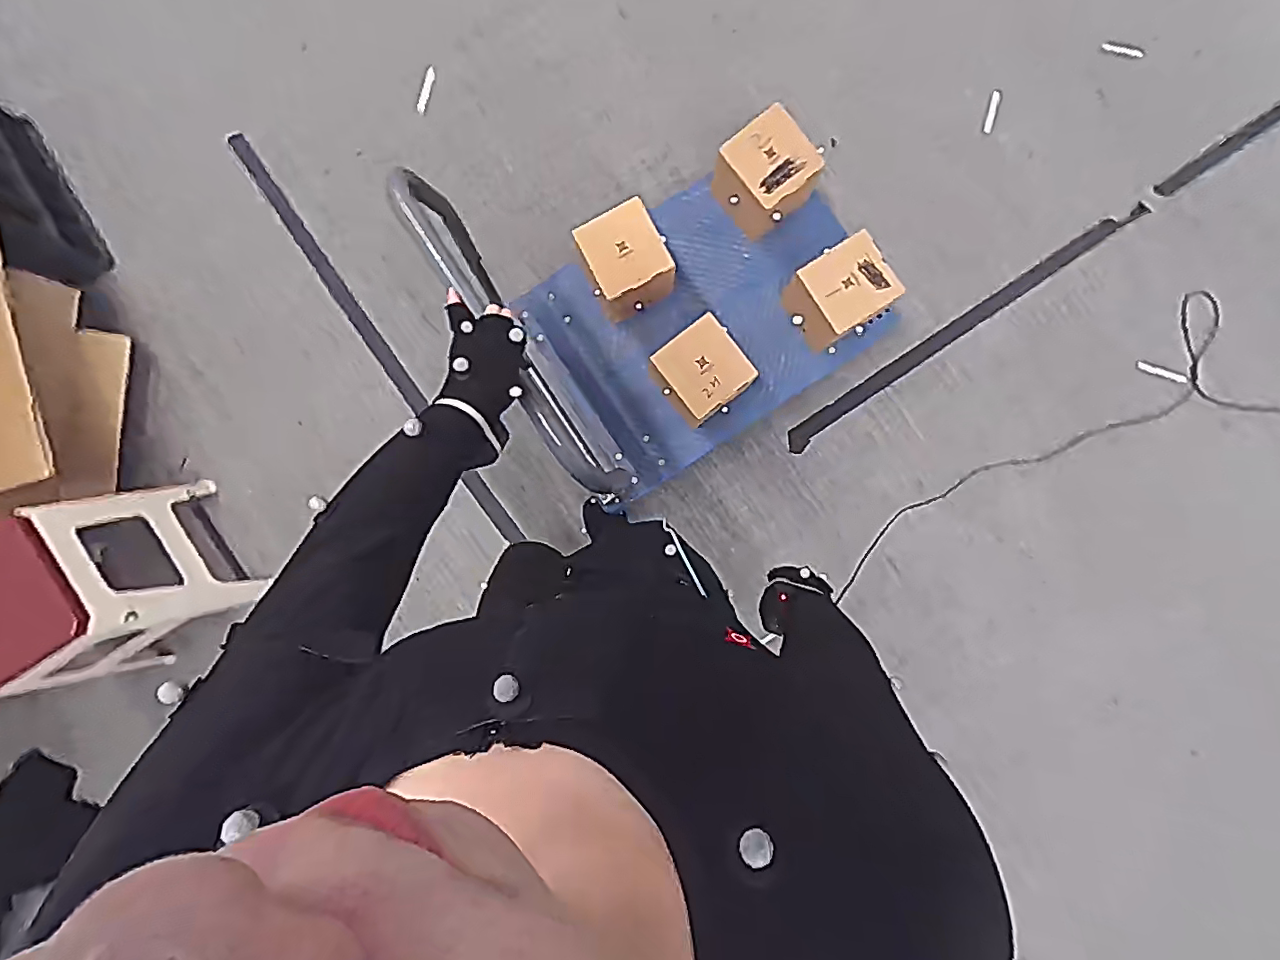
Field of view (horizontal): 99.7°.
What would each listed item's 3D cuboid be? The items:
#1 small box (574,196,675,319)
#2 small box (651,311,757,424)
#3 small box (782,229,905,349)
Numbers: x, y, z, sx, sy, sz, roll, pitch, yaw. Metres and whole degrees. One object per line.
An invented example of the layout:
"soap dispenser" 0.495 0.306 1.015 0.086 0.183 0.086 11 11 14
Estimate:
"small box" -0.036 -0.502 1.244 0.168 0.176 0.179 -28 91 0
"small box" 0.138 -0.247 1.237 0.168 0.176 0.179 -37 89 1
"small box" 0.452 -0.425 1.232 0.179 0.176 0.168 -32 89 2
